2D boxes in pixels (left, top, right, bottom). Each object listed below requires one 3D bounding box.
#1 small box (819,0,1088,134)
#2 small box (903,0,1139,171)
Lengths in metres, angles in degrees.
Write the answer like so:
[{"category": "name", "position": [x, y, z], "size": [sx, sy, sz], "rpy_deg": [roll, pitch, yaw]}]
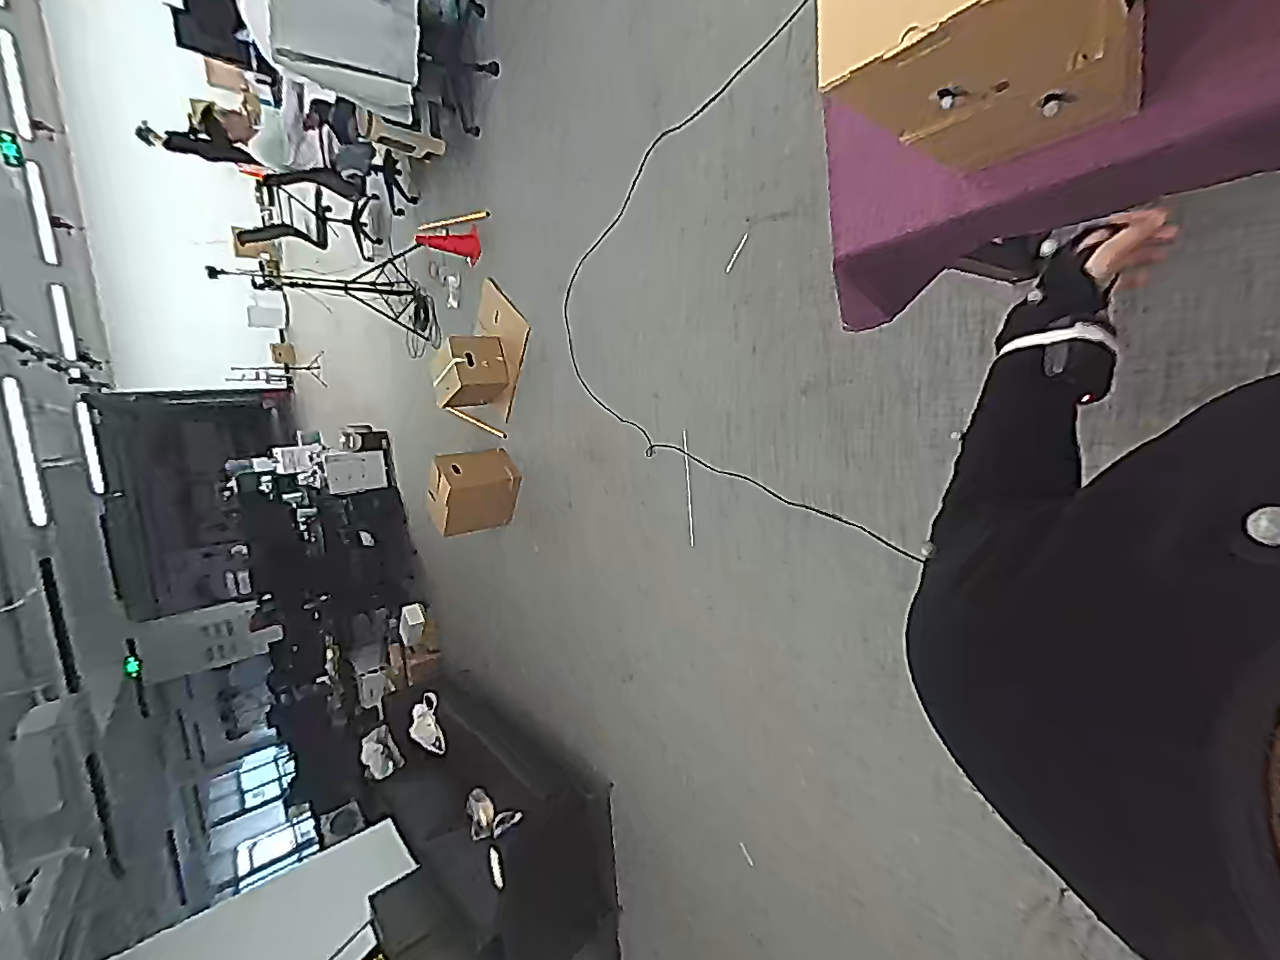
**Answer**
[{"category": "small box", "position": [0.278, -0.450, 0.480], "size": [0.168, 0.176, 0.179], "rpy_deg": [6, 103, 51]}, {"category": "small box", "position": [0.407, -0.463, 0.579], "size": [0.179, 0.176, 0.168], "rpy_deg": [5, 101, 51]}]
